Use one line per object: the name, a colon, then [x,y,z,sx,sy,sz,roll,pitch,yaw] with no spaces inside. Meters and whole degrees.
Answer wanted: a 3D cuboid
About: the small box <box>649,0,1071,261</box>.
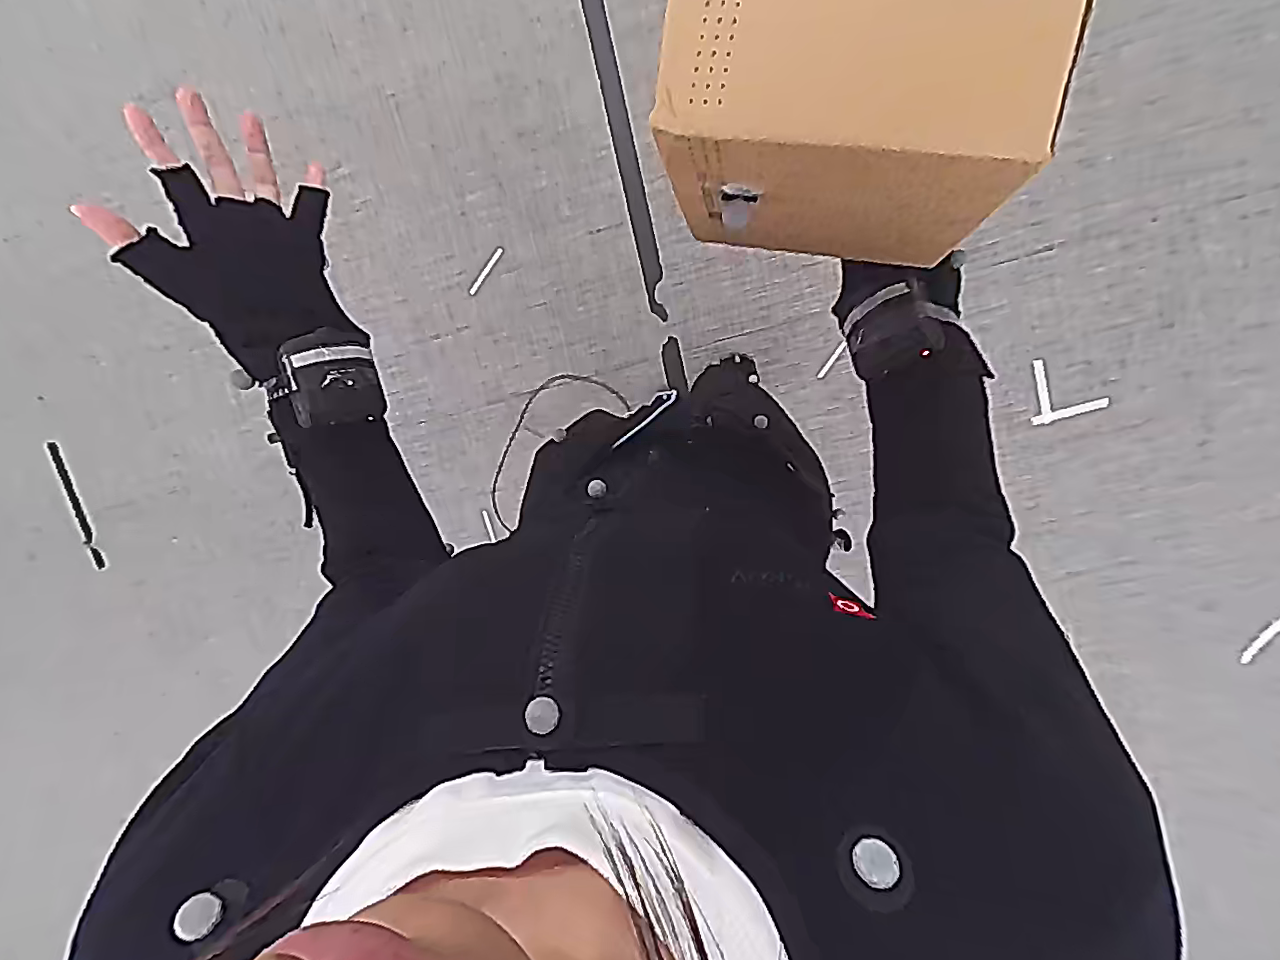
small box: [0.109,-0.242,0.299,0.176,0.168,0.179,12,100,13]
